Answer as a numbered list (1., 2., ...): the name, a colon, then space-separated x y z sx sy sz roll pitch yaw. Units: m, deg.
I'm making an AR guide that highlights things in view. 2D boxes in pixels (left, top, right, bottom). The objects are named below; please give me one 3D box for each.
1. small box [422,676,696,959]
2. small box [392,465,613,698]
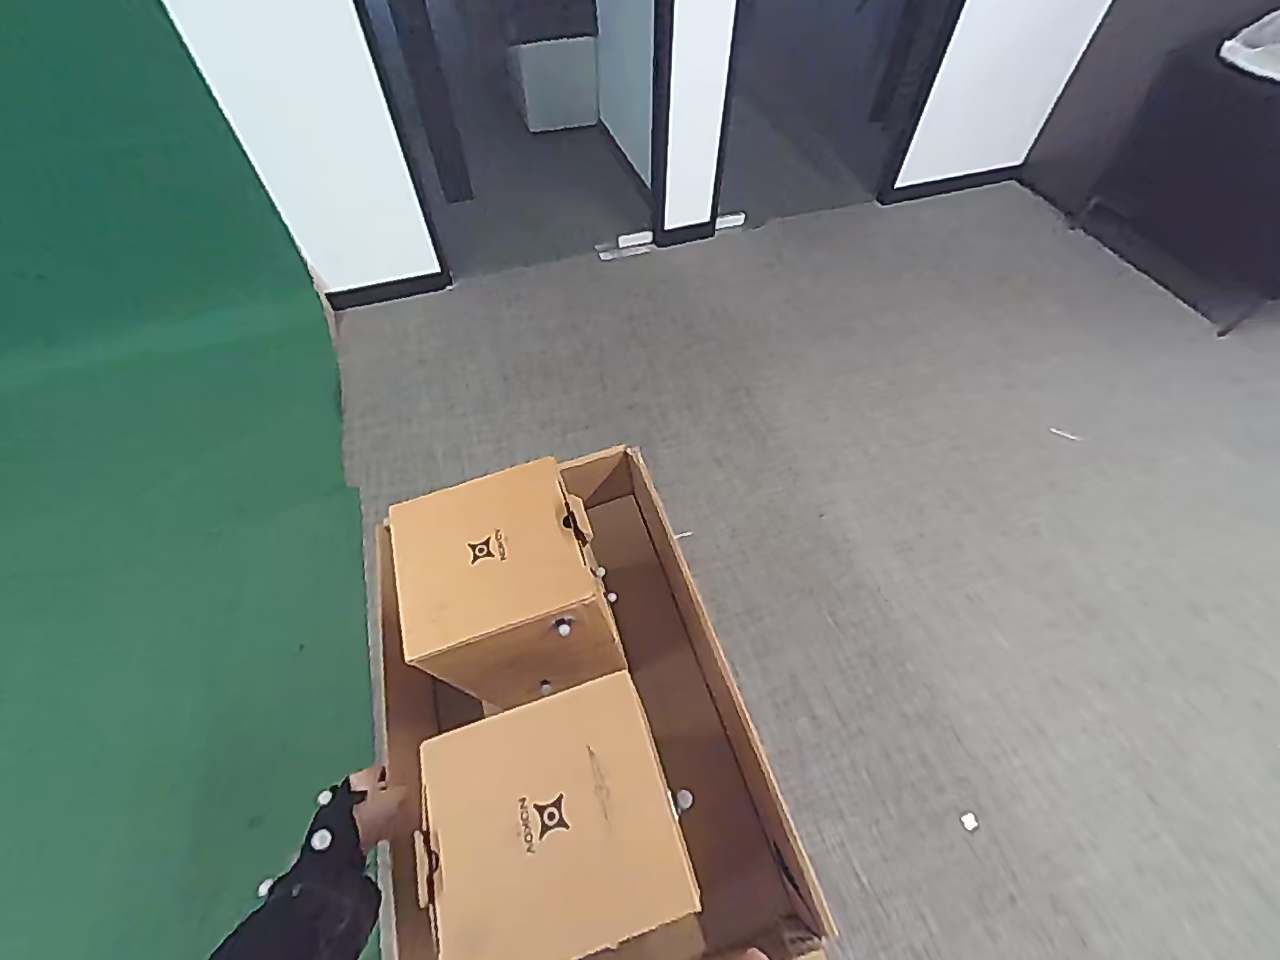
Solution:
1. small box: -0.060 0.294 0.457 0.179 0.176 0.168 -18 56 -7
2. small box: -0.140 0.116 0.585 0.179 0.176 0.168 -18 58 -8
